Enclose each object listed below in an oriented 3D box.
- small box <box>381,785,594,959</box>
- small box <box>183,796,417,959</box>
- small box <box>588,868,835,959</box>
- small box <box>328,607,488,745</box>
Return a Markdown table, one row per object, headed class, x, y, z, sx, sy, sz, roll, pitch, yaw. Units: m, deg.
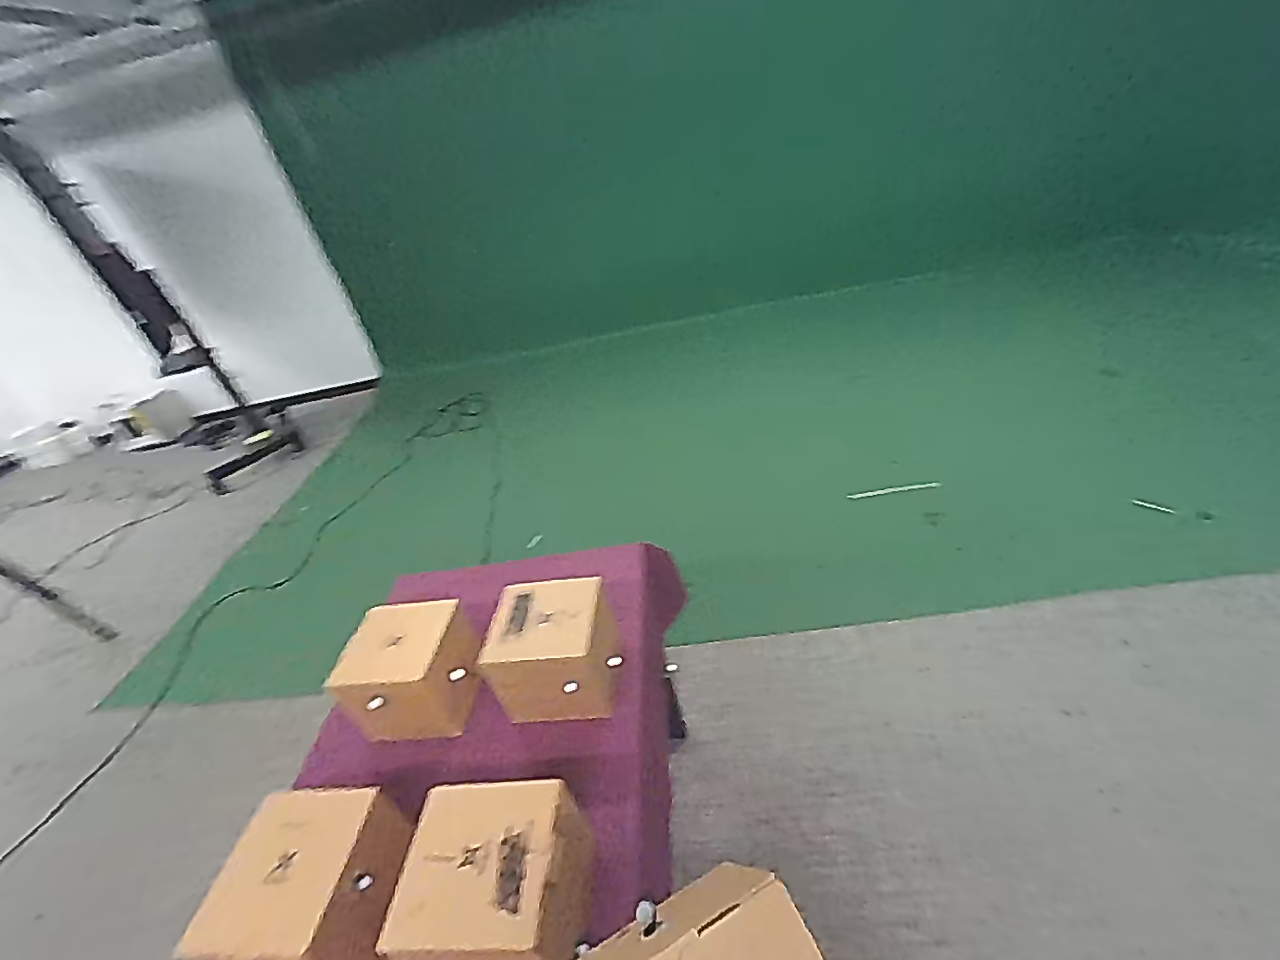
| class | x | y | z | sx | sy | sz | roll | pitch | yaw |
| --- | --- | --- | --- | --- | --- | --- | --- | --- | --- |
| small box | -0.165 | 0.499 | 0.658 | 0.179 | 0.176 | 0.168 | -10 | 34 | 10 |
| small box | -0.408 | 0.540 | 0.698 | 0.168 | 0.176 | 0.179 | -8 | 34 | 10 |
| small box | 0.055 | 0.385 | 0.347 | 0.168 | 0.176 | 0.179 | -21 | 61 | -16 |
| small box | -0.397 | 0.350 | 0.965 | 0.179 | 0.176 | 0.168 | -9 | 35 | 11 |
